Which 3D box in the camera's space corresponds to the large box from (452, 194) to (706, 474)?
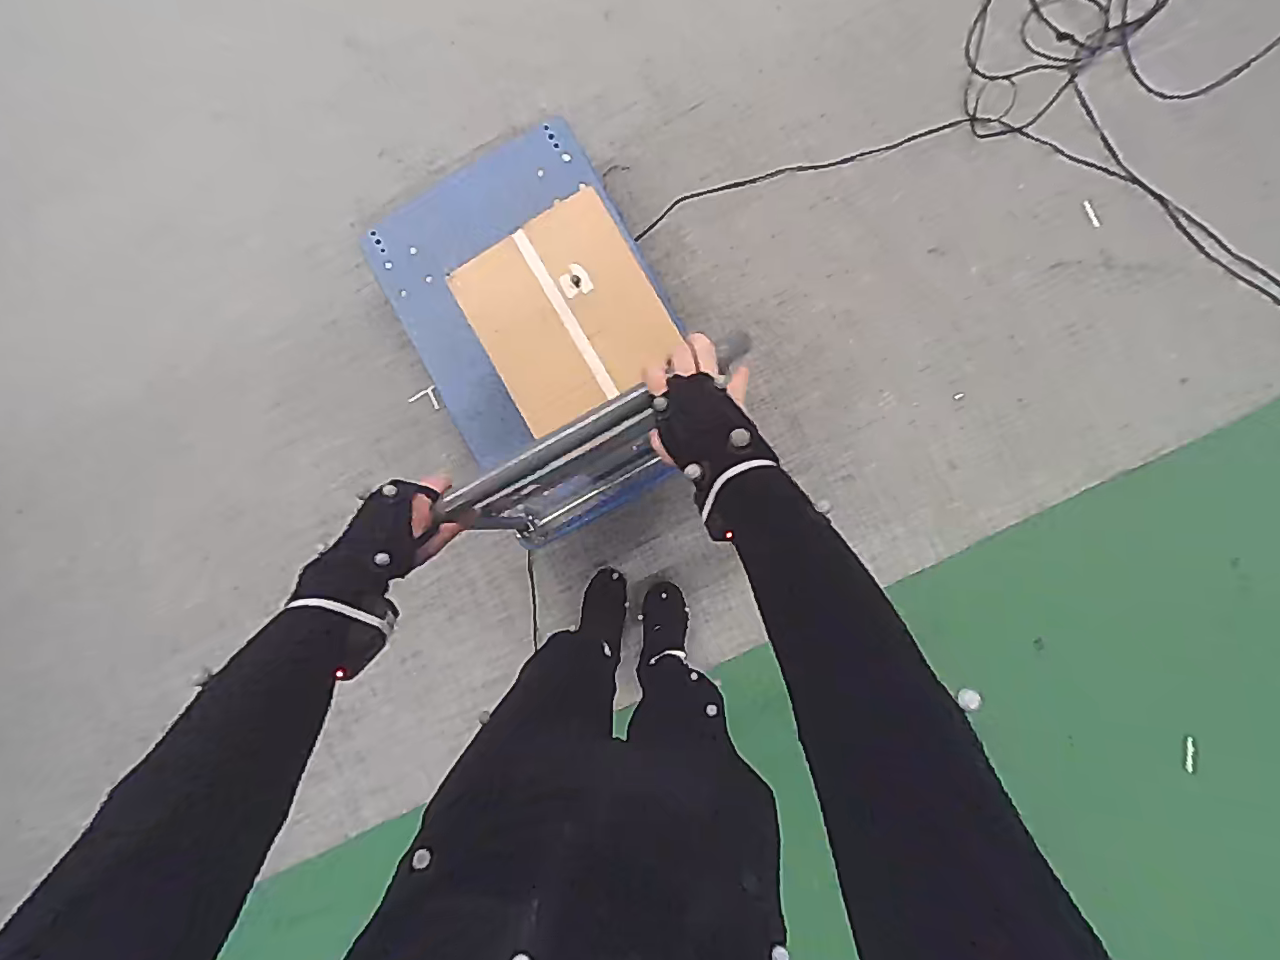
[{"bbox_3d":[-0.097,-0.260,1.103,0.320,0.320,0.408,-30,86,3],"label":"large box"}]
